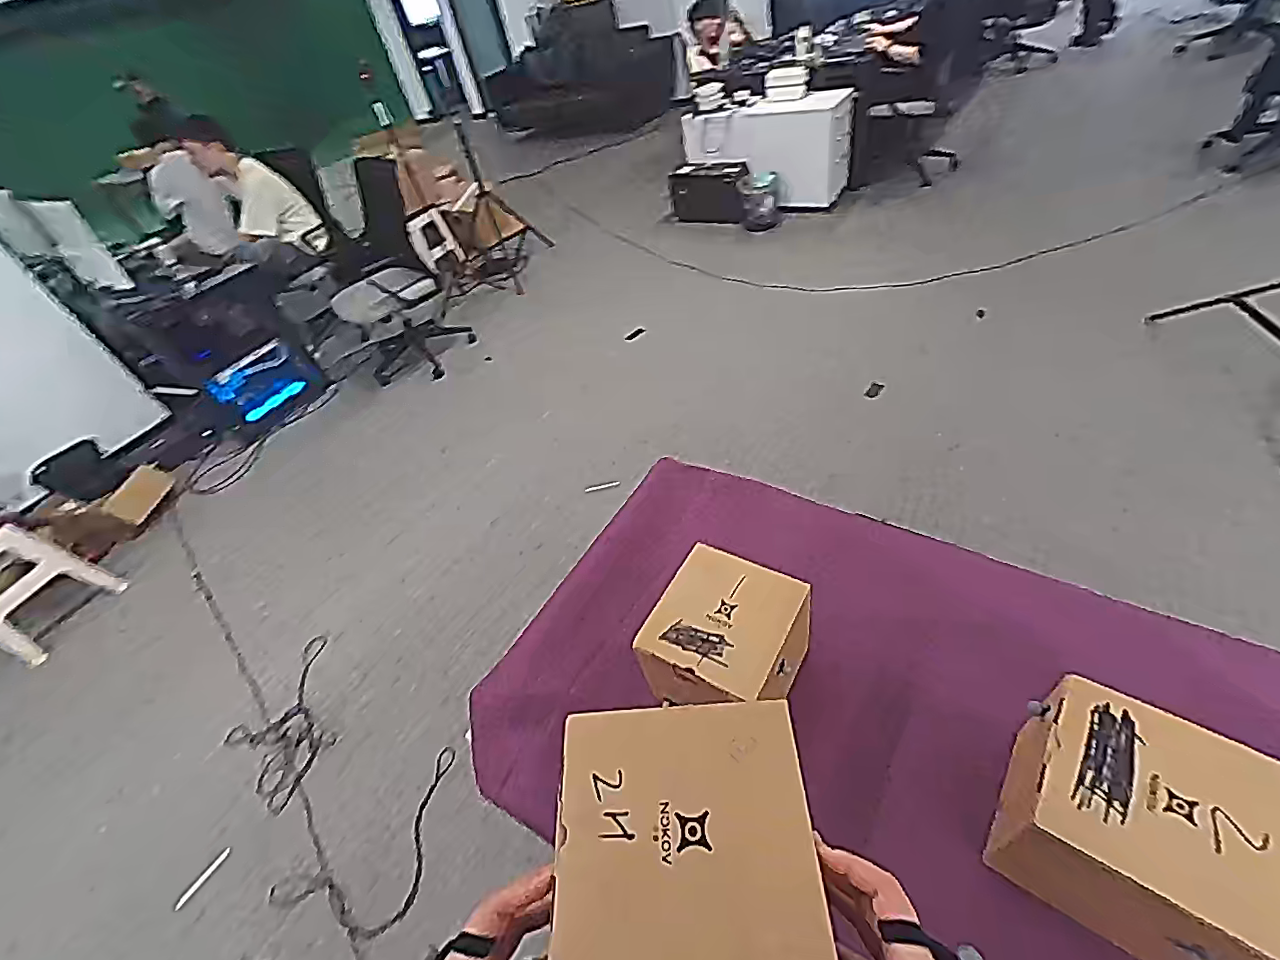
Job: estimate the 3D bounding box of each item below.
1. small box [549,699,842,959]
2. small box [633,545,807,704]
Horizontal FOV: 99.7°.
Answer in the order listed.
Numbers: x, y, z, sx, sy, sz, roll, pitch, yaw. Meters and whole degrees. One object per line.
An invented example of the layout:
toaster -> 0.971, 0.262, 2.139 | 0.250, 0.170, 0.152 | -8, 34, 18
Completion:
small box -> 0.042, 0.288, 0.425 | 0.179, 0.176, 0.168 | -7, 46, 6
small box -> 0.117, 0.225, 0.730 | 0.168, 0.176, 0.179 | 18, 53, 29
